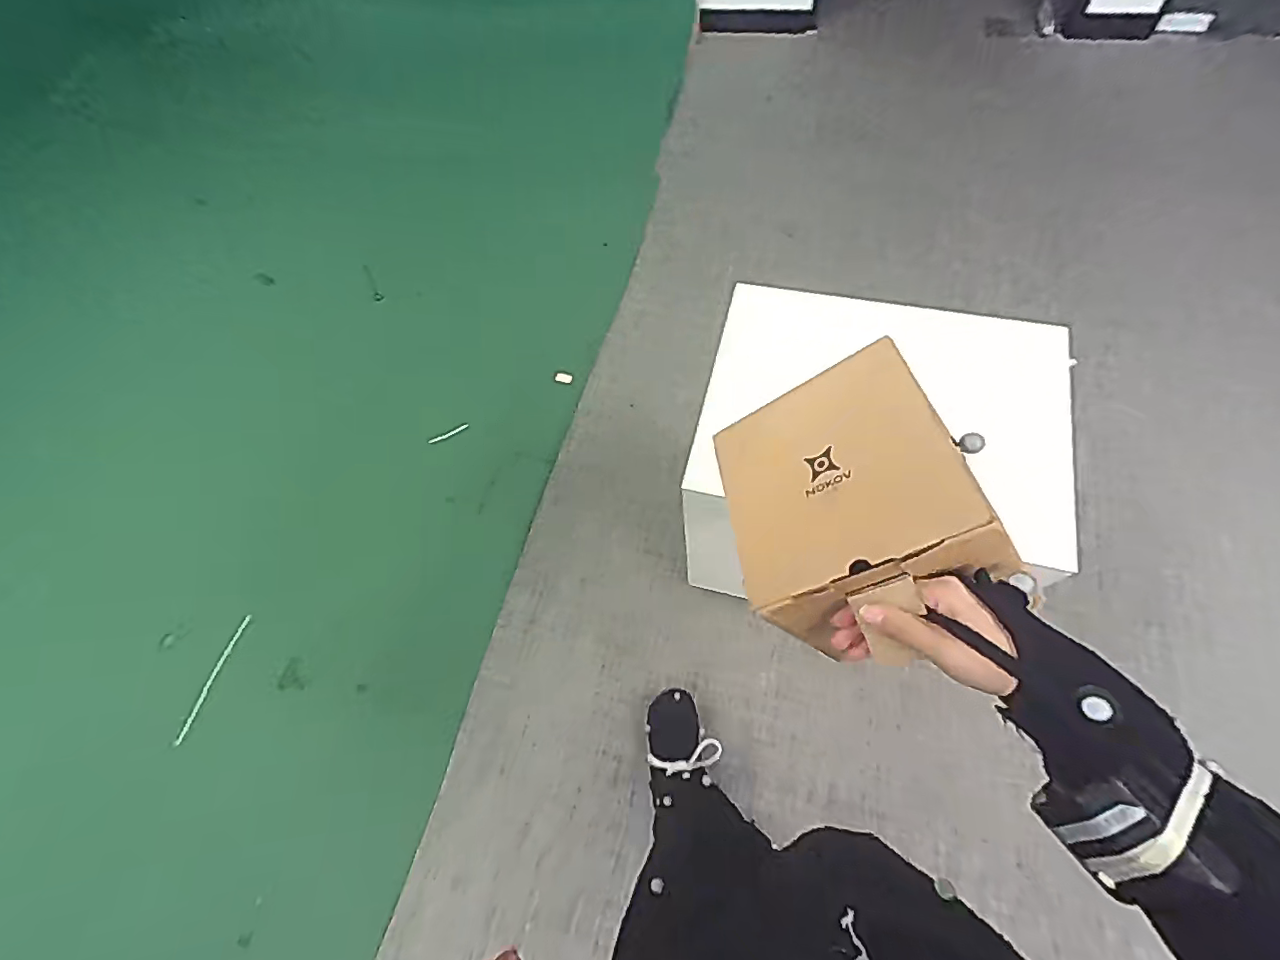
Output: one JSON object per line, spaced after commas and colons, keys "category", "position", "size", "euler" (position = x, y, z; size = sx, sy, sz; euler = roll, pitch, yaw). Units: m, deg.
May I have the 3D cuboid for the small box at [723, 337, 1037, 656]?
{"category": "small box", "position": [0.193, 0.025, 0.453], "size": [0.168, 0.176, 0.179], "euler": [-29, 46, 27]}
